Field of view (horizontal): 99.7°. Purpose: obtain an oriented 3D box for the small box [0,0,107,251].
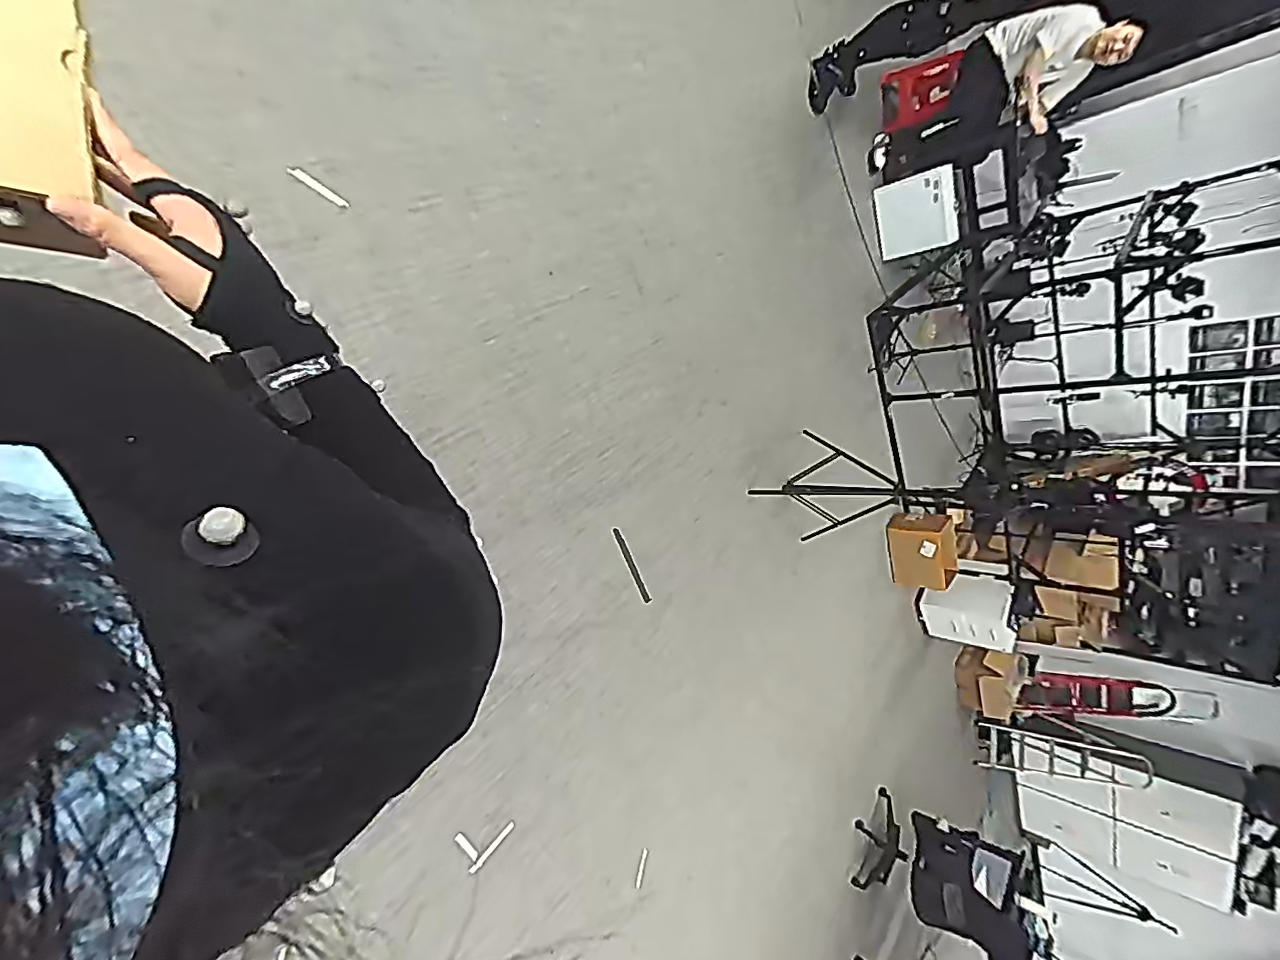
[{"bbox_3d":[-0.456,-0.256,0.330,0.179,0.176,0.168,-4,98,-43],"label":"small box"}]
